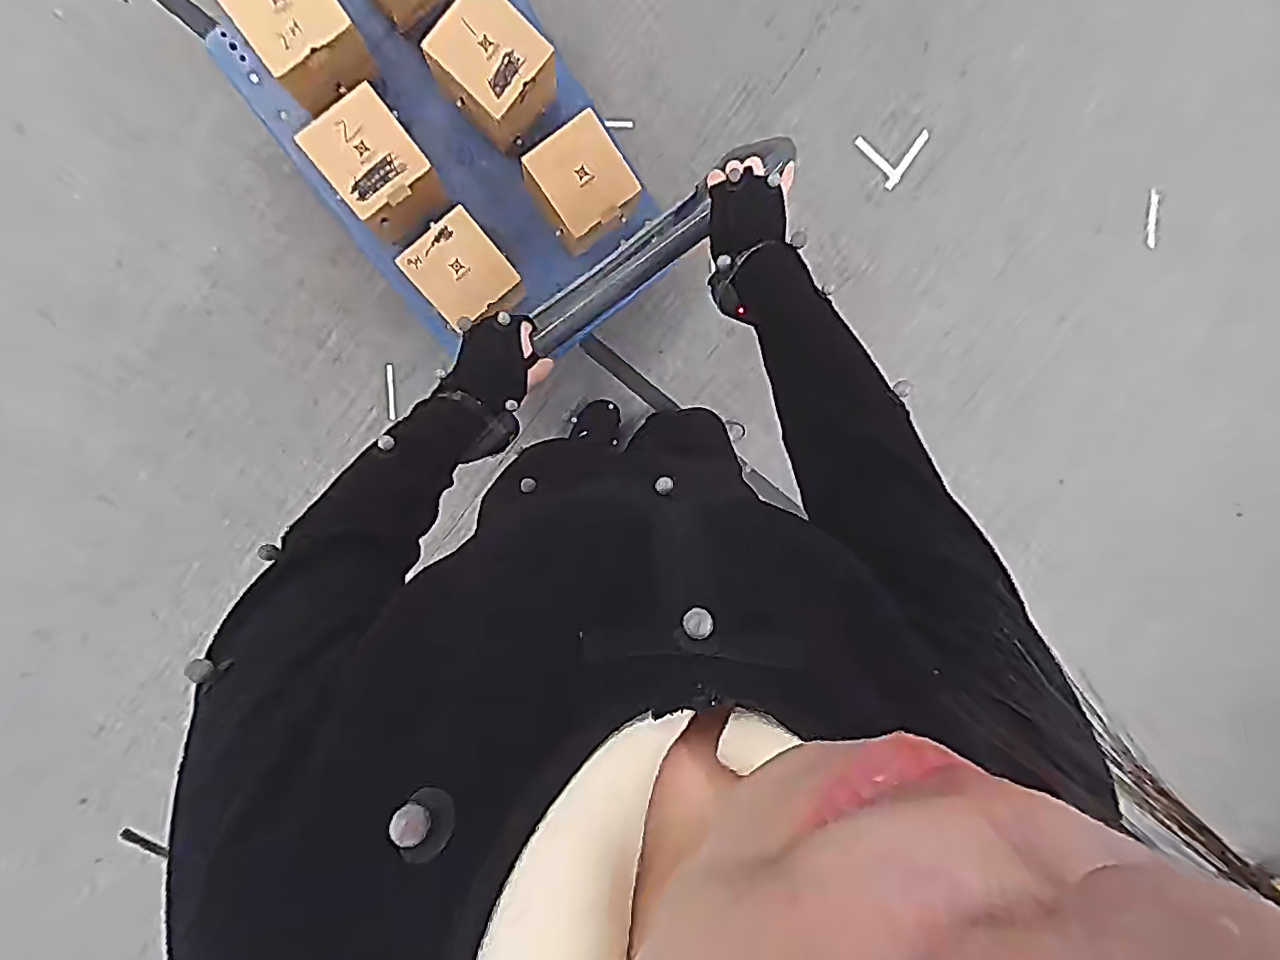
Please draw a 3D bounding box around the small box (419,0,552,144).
[{"bbox_3d":[-0.284,-0.792,1.045,0.179,0.176,0.168,40,93,-13],"label":"small box"}]

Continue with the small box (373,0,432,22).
[{"bbox_3d":[-0.460,-0.991,0.980,0.168,0.176,0.179,-41,104,1],"label":"small box"}]

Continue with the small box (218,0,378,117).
[{"bbox_3d":[-0.621,-0.820,0.986,0.168,0.176,0.179,-36,105,0],"label":"small box"}]

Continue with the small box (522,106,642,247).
[{"bbox_3d":[-0.120,-0.603,1.108,0.168,0.176,0.179,-38,103,-1],"label":"small box"}]

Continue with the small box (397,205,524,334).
[{"bbox_3d":[-0.353,-0.417,1.105,0.168,0.176,0.179,-41,104,-1],"label":"small box"}]
